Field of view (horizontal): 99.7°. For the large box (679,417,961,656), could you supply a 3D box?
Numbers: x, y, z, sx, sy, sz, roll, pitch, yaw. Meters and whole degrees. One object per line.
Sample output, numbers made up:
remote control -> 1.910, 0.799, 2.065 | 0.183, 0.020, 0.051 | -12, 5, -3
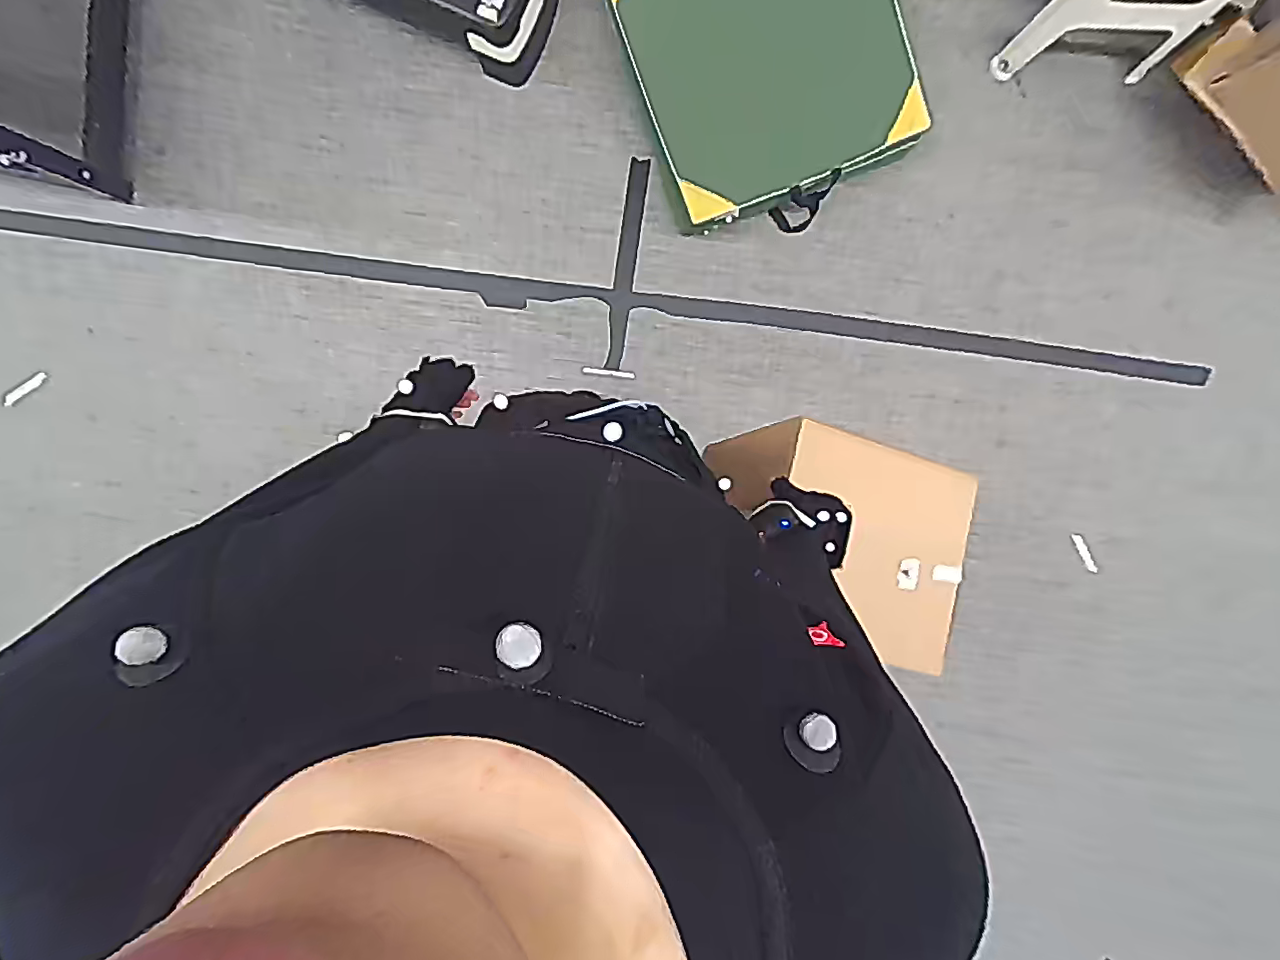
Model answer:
large box -> 0.296, 0.102, 0.988 | 0.320, 0.408, 0.320 | 14, 84, -10
